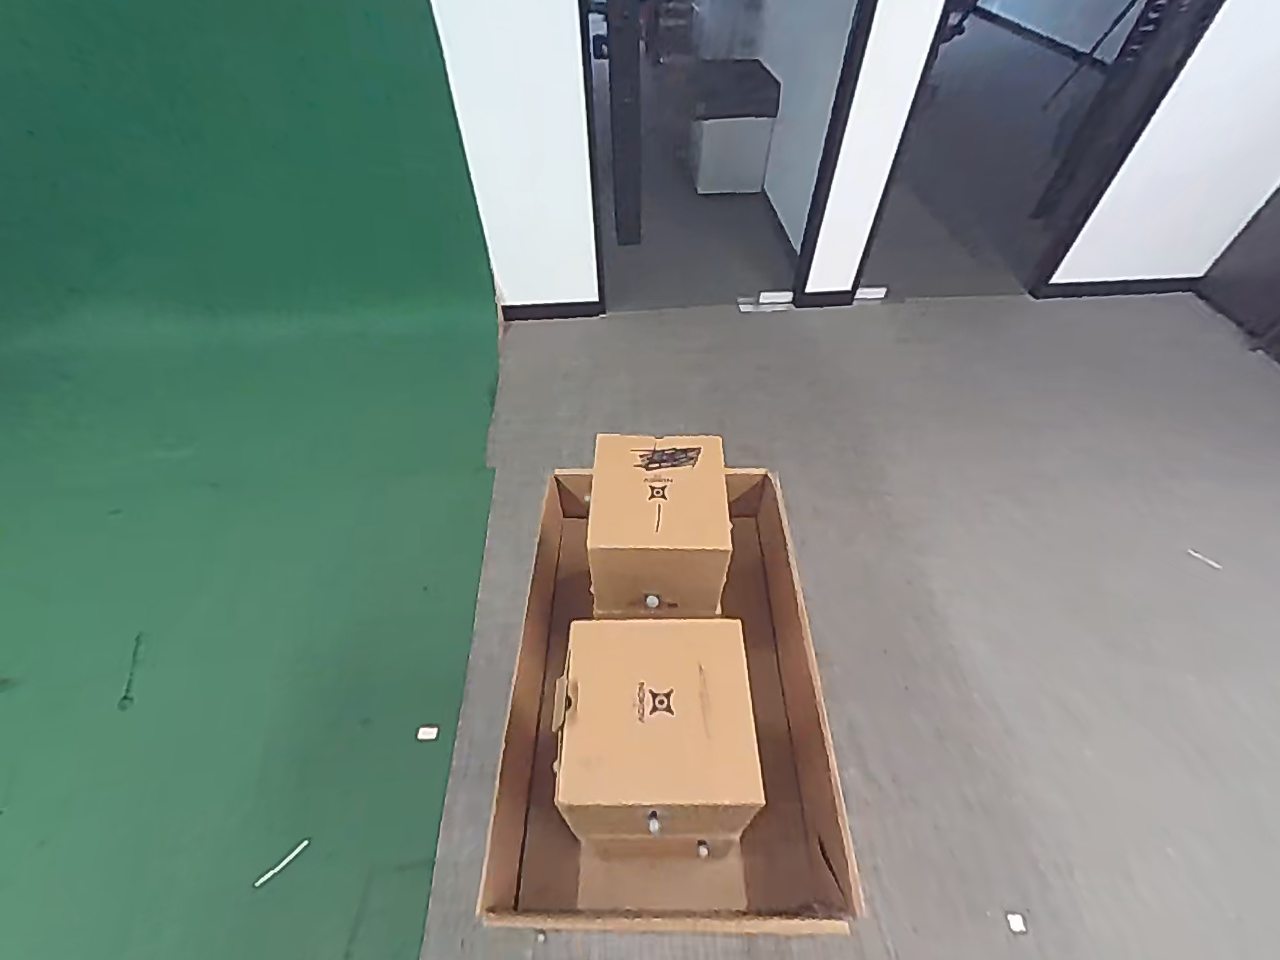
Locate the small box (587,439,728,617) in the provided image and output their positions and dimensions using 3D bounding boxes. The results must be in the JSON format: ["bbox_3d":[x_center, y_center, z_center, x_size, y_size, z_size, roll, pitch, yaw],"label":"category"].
[{"bbox_3d":[0.022,0.066,0.728,0.168,0.176,0.179,2,53,1],"label":"small box"}]

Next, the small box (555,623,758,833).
[{"bbox_3d":[0.015,0.263,0.567,0.179,0.176,0.168,0,50,-1],"label":"small box"}]
